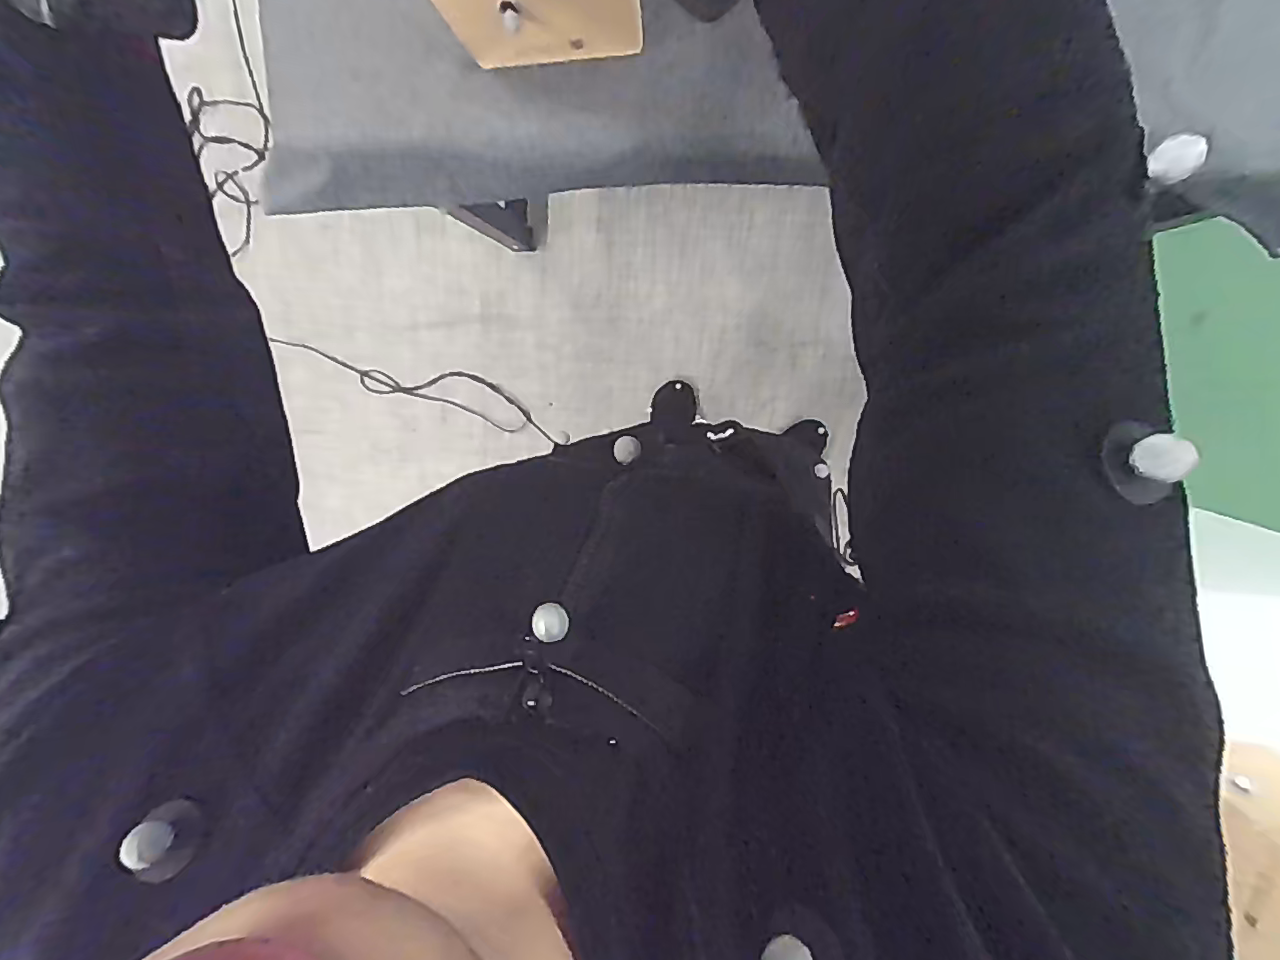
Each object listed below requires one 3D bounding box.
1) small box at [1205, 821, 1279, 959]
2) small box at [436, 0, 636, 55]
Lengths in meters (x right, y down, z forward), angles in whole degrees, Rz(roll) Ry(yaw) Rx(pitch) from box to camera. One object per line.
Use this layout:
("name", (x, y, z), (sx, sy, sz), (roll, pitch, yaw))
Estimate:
("small box", (0.770, 0.496, 0.564), (0.179, 0.176, 0.168), (5, 103, 3))
("small box", (-0.095, -0.487, 0.444), (0.168, 0.176, 0.179), (-1, 103, 5))
